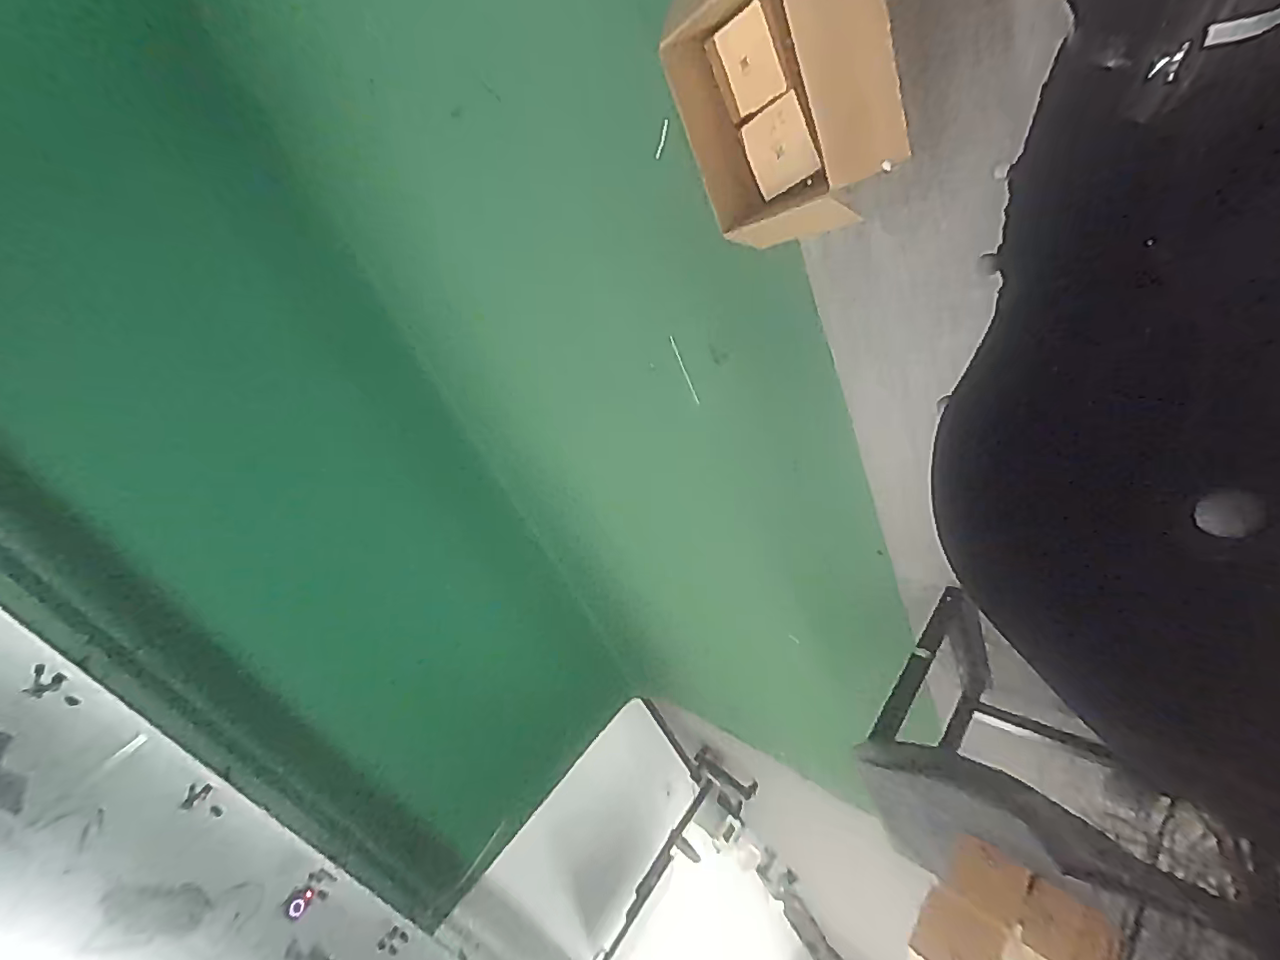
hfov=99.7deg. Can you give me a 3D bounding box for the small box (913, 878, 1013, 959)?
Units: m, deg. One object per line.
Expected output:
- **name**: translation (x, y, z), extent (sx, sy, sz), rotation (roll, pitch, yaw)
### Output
- **small box**: translation (0.815, 1.166, 1.367), extent (0.179, 0.176, 0.168), rotation (18, 139, 43)
